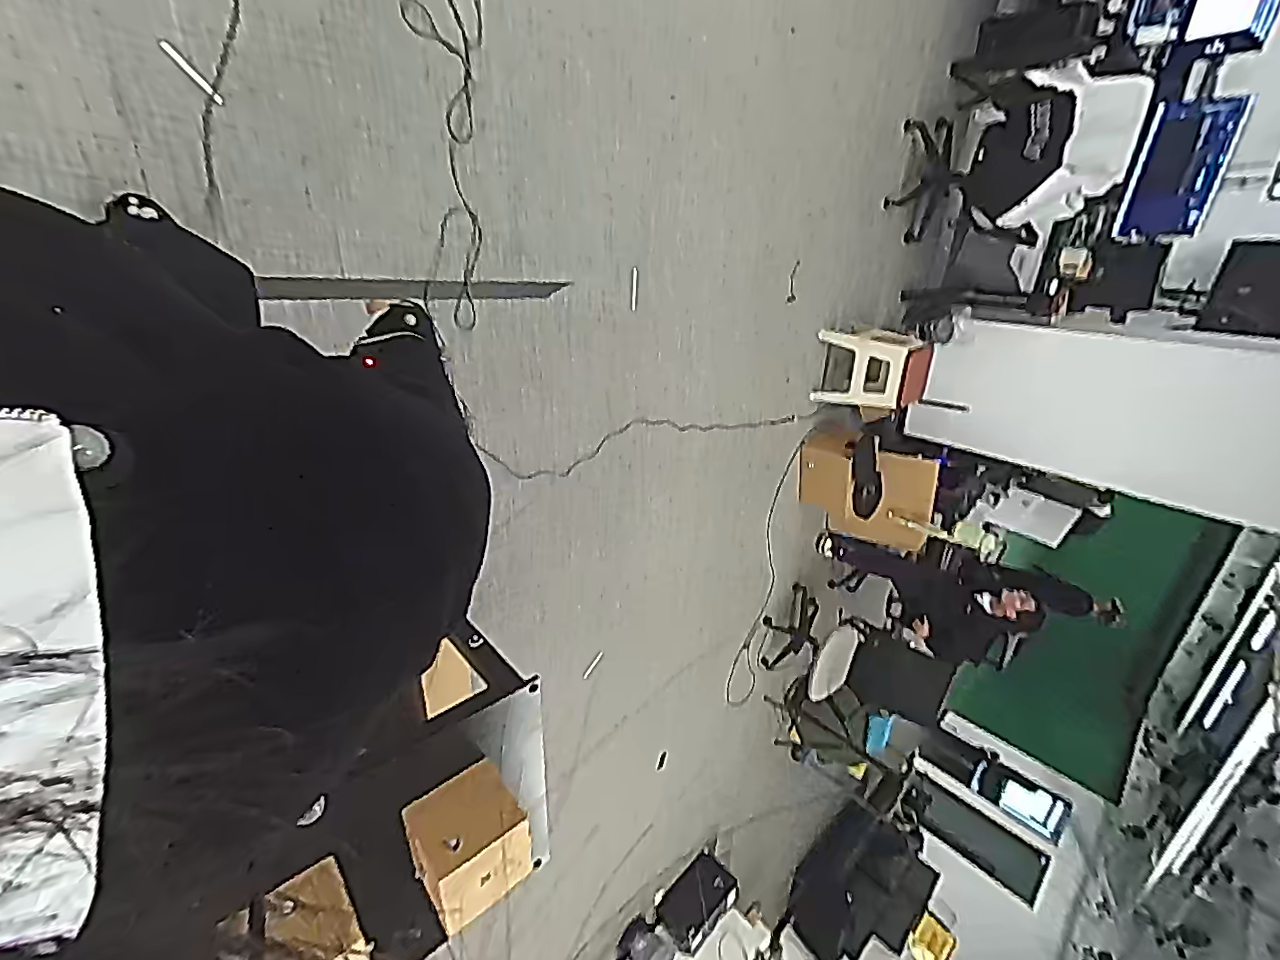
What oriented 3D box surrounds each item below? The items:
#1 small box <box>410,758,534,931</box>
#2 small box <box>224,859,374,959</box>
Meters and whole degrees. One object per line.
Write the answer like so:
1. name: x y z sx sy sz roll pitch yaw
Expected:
1. small box: -0.325 0.686 1.038 0.179 0.176 0.168 -20 122 -38
2. small box: -0.535 0.766 0.863 0.168 0.176 0.179 -18 120 -40
